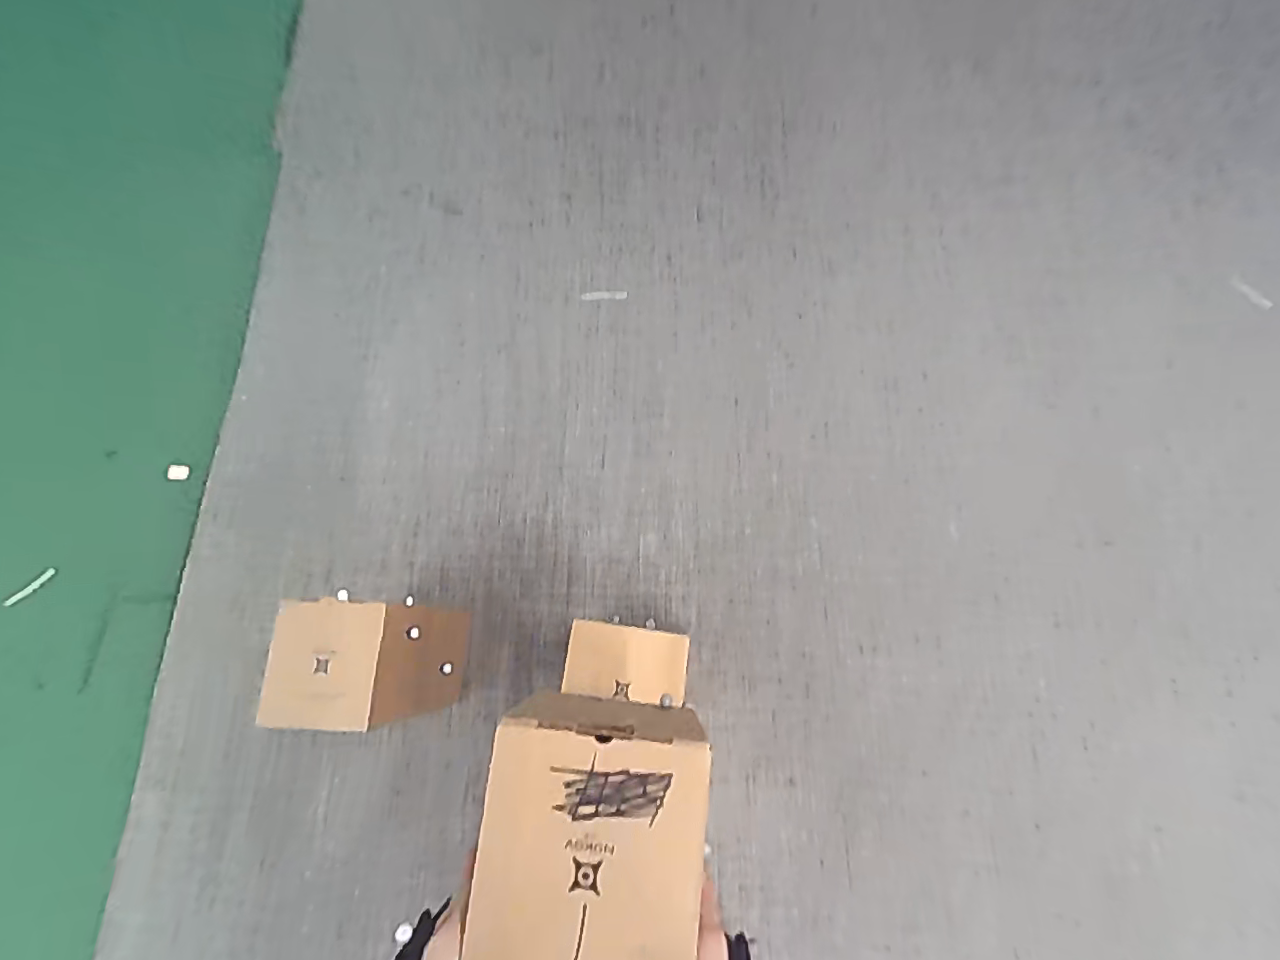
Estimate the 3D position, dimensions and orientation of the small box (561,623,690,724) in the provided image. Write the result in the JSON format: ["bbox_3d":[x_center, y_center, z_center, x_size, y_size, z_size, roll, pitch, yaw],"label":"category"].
[{"bbox_3d":[-0.020,0.316,0.810,0.168,0.176,0.179,7,76,6],"label":"small box"}]

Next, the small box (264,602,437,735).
[{"bbox_3d":[-0.436,0.287,0.847,0.168,0.176,0.179,0,75,5],"label":"small box"}]

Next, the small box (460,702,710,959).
[{"bbox_3d":[-0.037,0.303,0.469,0.168,0.176,0.179,6,78,2],"label":"small box"}]

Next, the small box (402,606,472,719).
[{"bbox_3d":[-0.428,0.329,1.004,0.168,0.176,0.179,3,76,5],"label":"small box"}]
